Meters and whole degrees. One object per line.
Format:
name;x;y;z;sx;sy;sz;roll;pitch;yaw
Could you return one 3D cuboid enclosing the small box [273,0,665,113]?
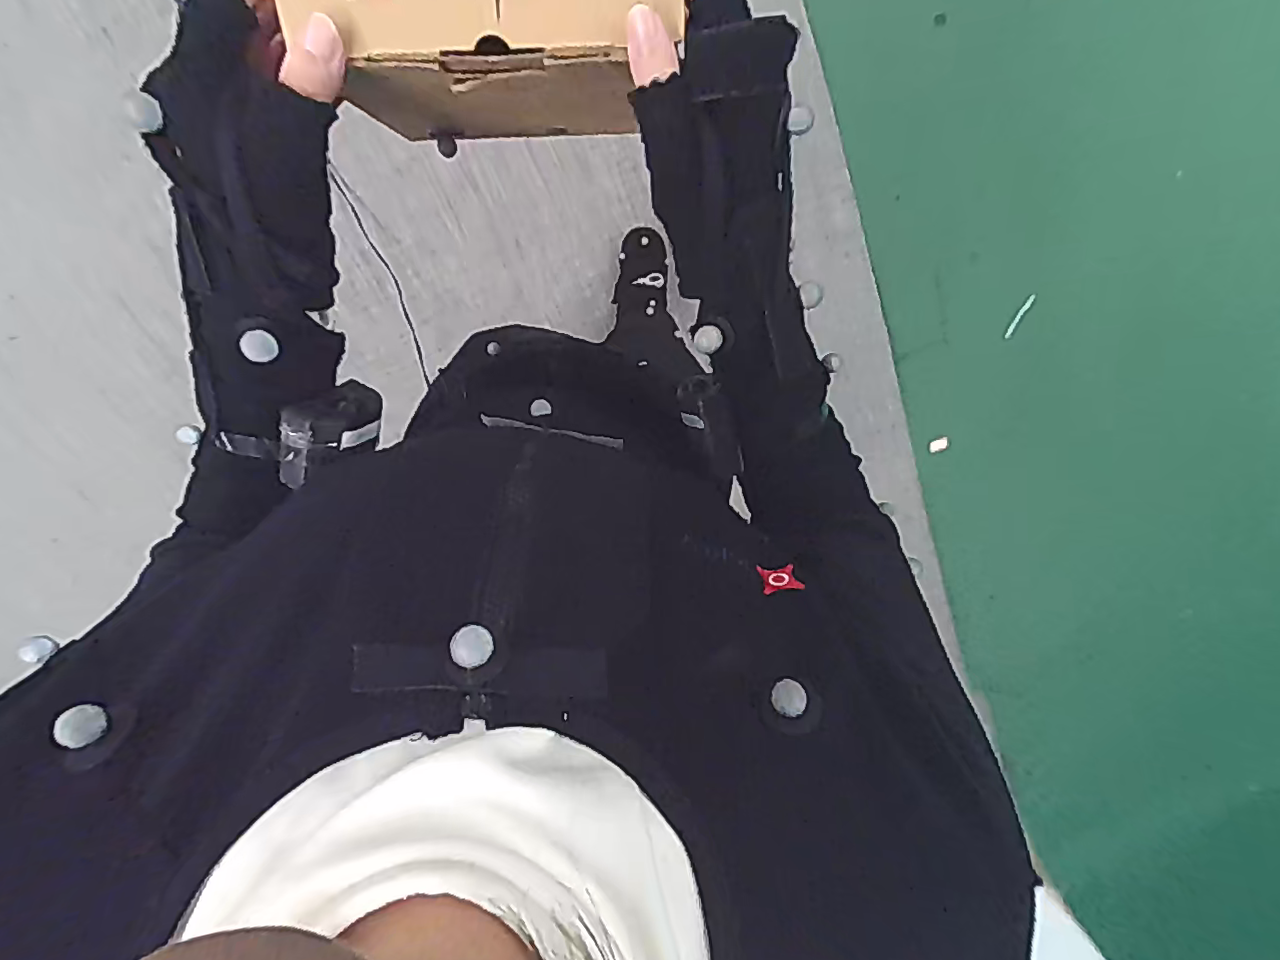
small box;-0.078;-0.301;0.267;0.168;0.176;0.179;-5;111;-4
